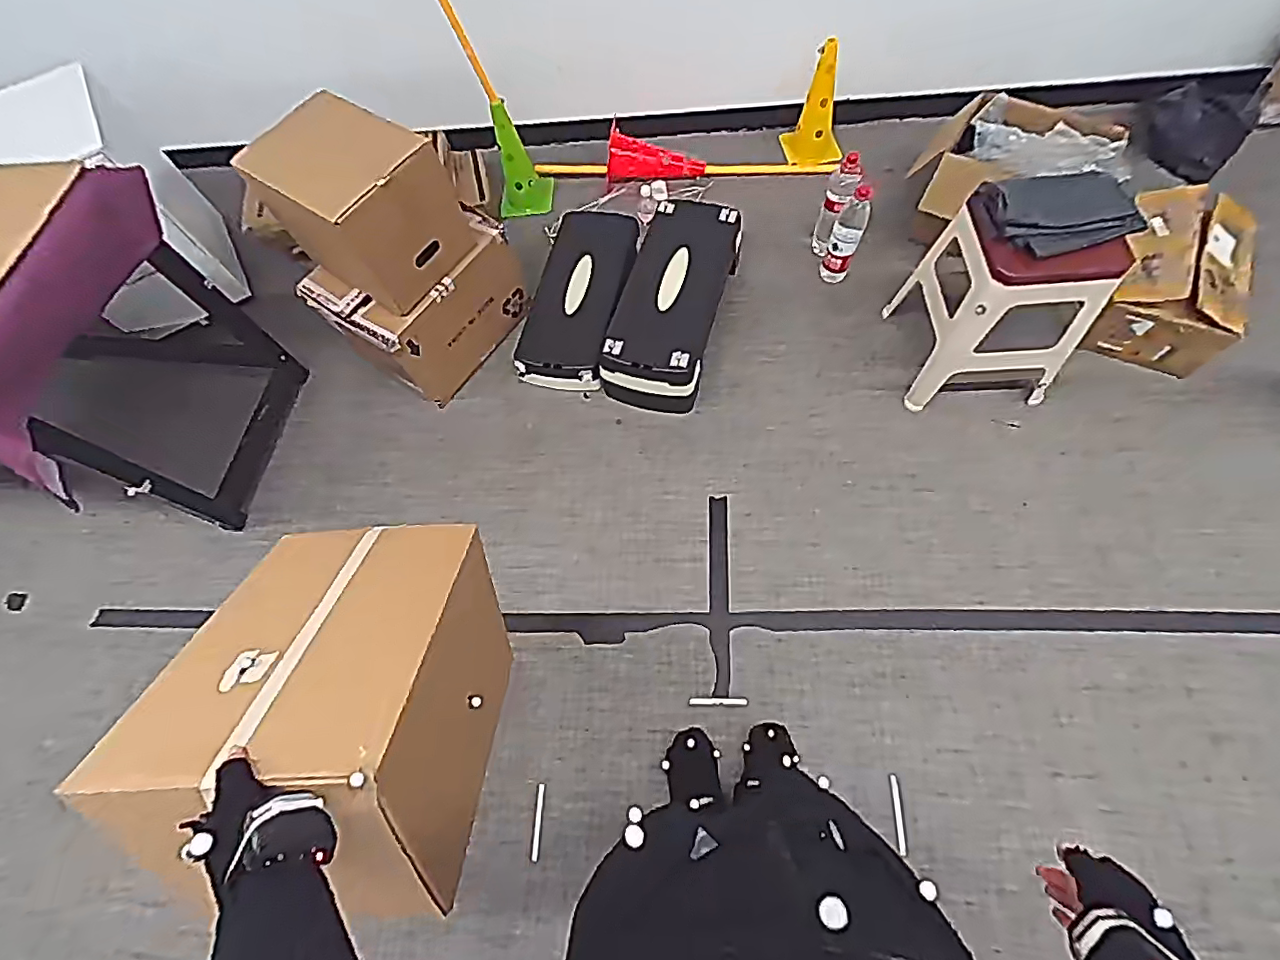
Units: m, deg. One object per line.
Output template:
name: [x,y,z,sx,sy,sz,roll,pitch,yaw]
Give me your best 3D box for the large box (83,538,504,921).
large box: [-0.407,0.332,0.784,0.320,0.320,0.408,-4,33,2]
